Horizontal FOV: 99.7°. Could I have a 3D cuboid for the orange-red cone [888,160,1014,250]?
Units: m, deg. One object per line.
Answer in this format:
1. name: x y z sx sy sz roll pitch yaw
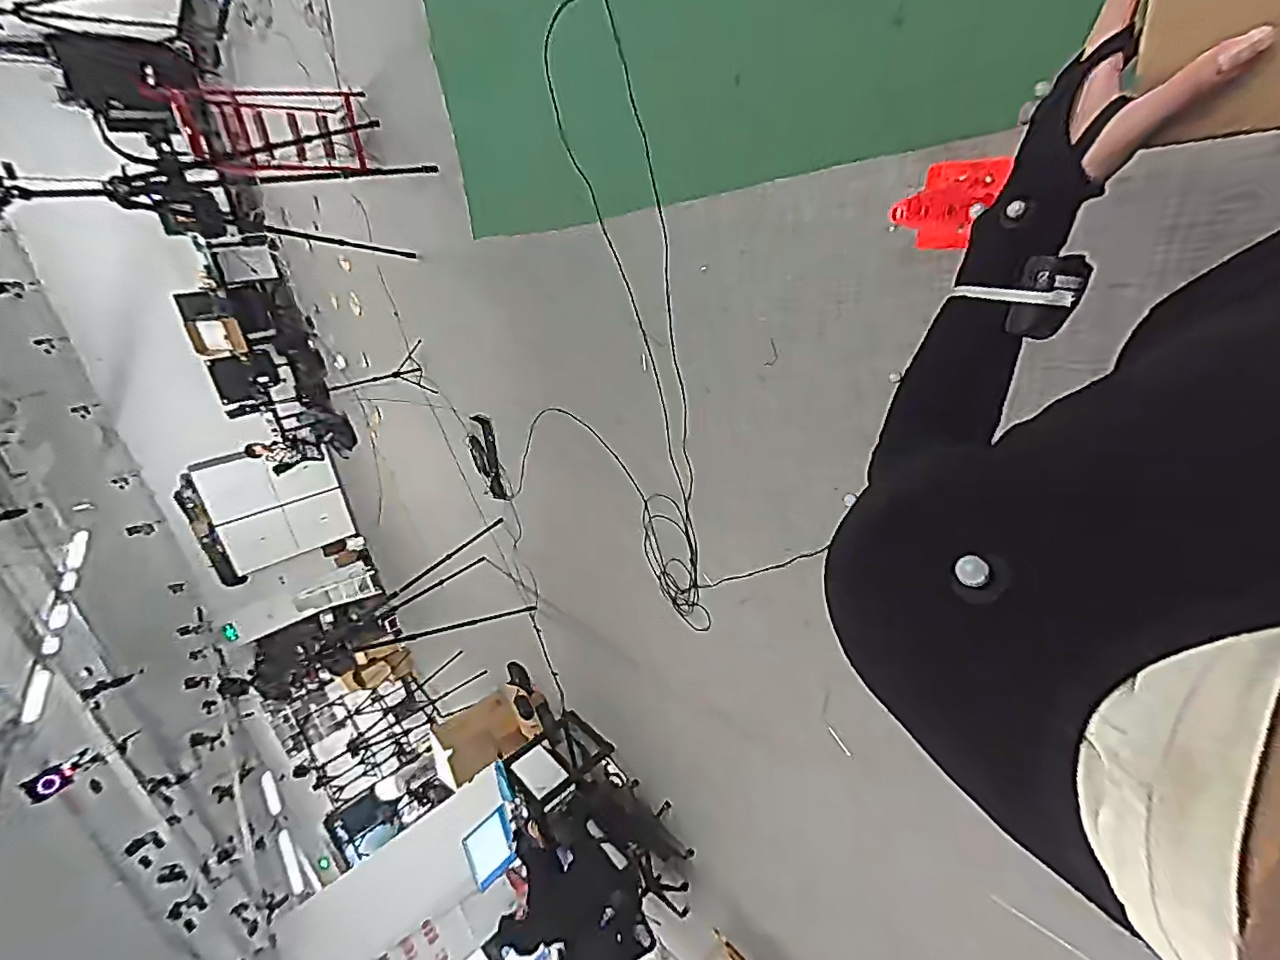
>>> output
1. orange-red cone: 0.676 -0.632 1.257 0.199 0.360 0.198 27 129 42
